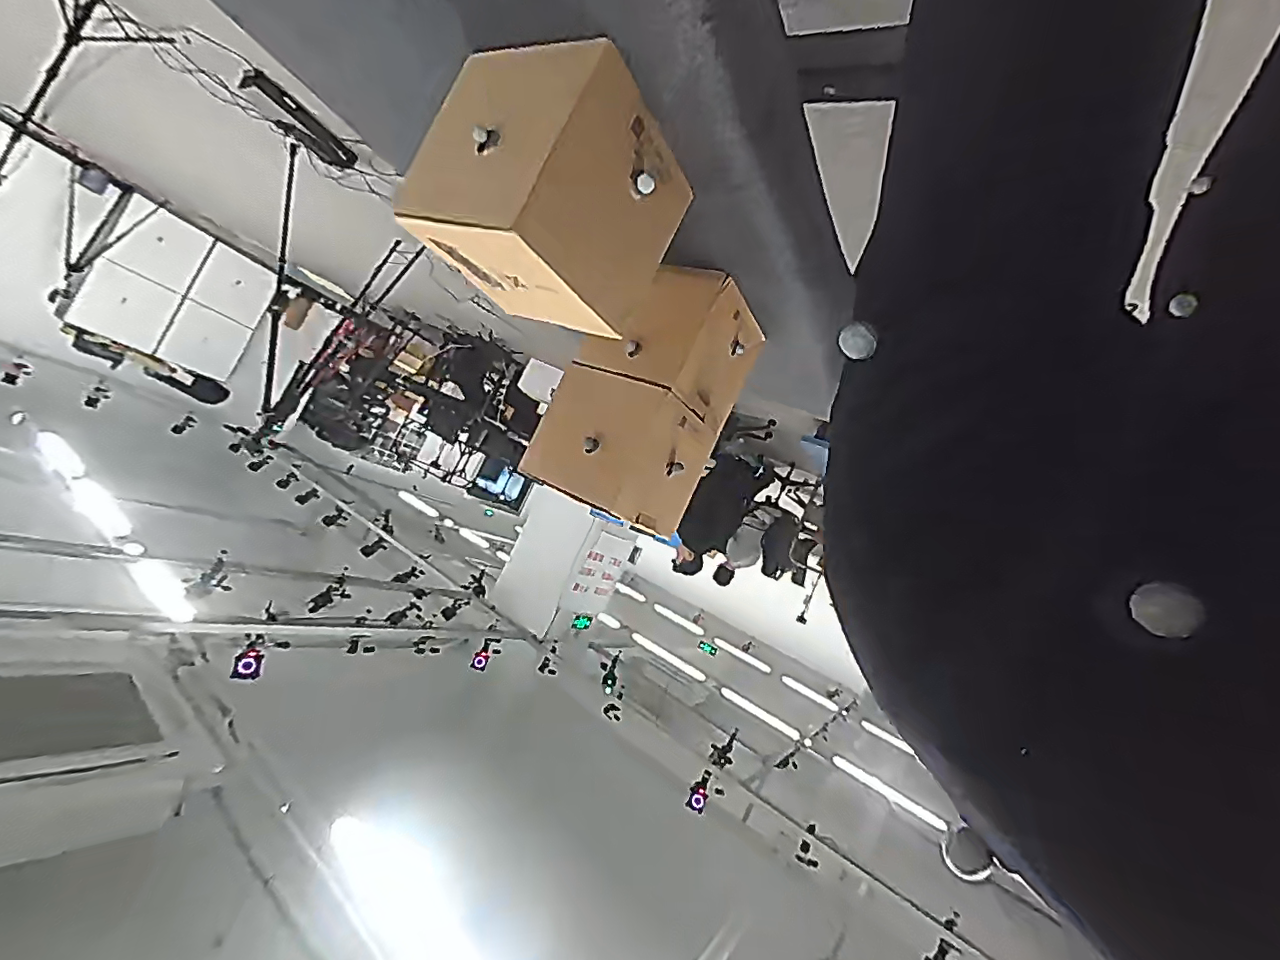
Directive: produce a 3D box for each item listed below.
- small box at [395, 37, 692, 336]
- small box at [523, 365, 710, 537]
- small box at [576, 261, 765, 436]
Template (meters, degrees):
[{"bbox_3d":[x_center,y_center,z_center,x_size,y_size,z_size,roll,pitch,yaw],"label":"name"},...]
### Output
[{"bbox_3d":[-0.081,-0.265,0.506,0.179,0.176,0.168,23,176,32],"label":"small box"},{"bbox_3d":[-0.022,-0.041,0.748,0.179,0.176,0.168,22,174,35],"label":"small box"},{"bbox_3d":[0.048,-0.188,0.765,0.179,0.176,0.168,23,175,34],"label":"small box"}]
